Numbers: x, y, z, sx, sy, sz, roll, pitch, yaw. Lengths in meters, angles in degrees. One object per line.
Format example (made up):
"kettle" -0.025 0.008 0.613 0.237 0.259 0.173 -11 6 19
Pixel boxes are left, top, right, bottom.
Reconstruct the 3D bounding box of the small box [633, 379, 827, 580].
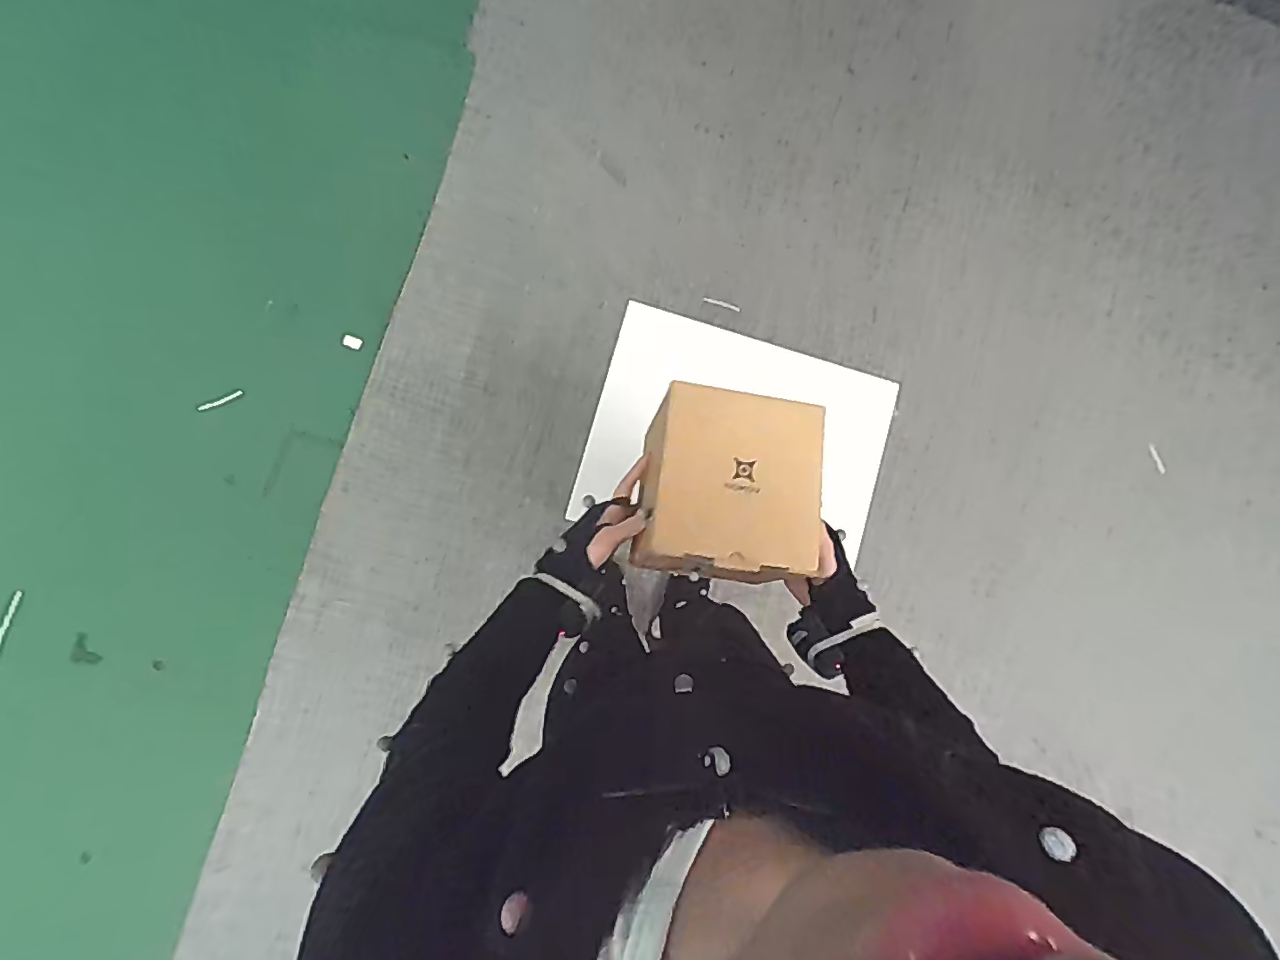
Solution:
"small box" 0.088 0.012 0.591 0.168 0.176 0.179 7 77 -6
